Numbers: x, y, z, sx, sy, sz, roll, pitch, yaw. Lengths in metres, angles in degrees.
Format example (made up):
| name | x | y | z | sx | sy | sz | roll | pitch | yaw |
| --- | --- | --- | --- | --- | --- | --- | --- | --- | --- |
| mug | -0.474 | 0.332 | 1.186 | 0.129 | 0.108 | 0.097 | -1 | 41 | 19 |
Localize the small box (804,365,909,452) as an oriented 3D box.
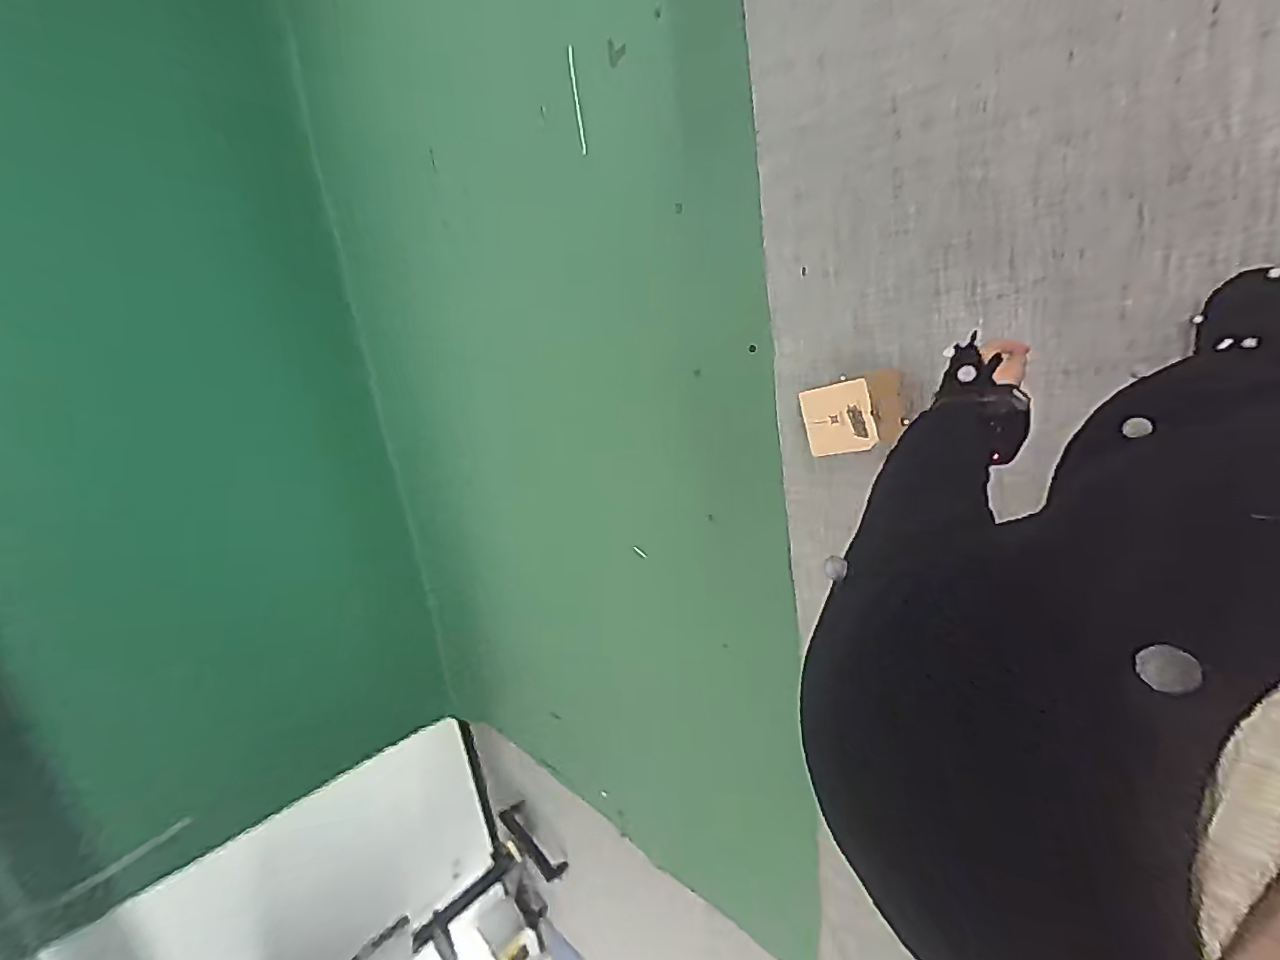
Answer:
| name | x | y | z | sx | sy | sz | roll | pitch | yaw |
| --- | --- | --- | --- | --- | --- | --- | --- | --- | --- |
| small box | 0.534 | -0.174 | 1.317 | 0.179 | 0.176 | 0.168 | -7 | 100 | 49 |
